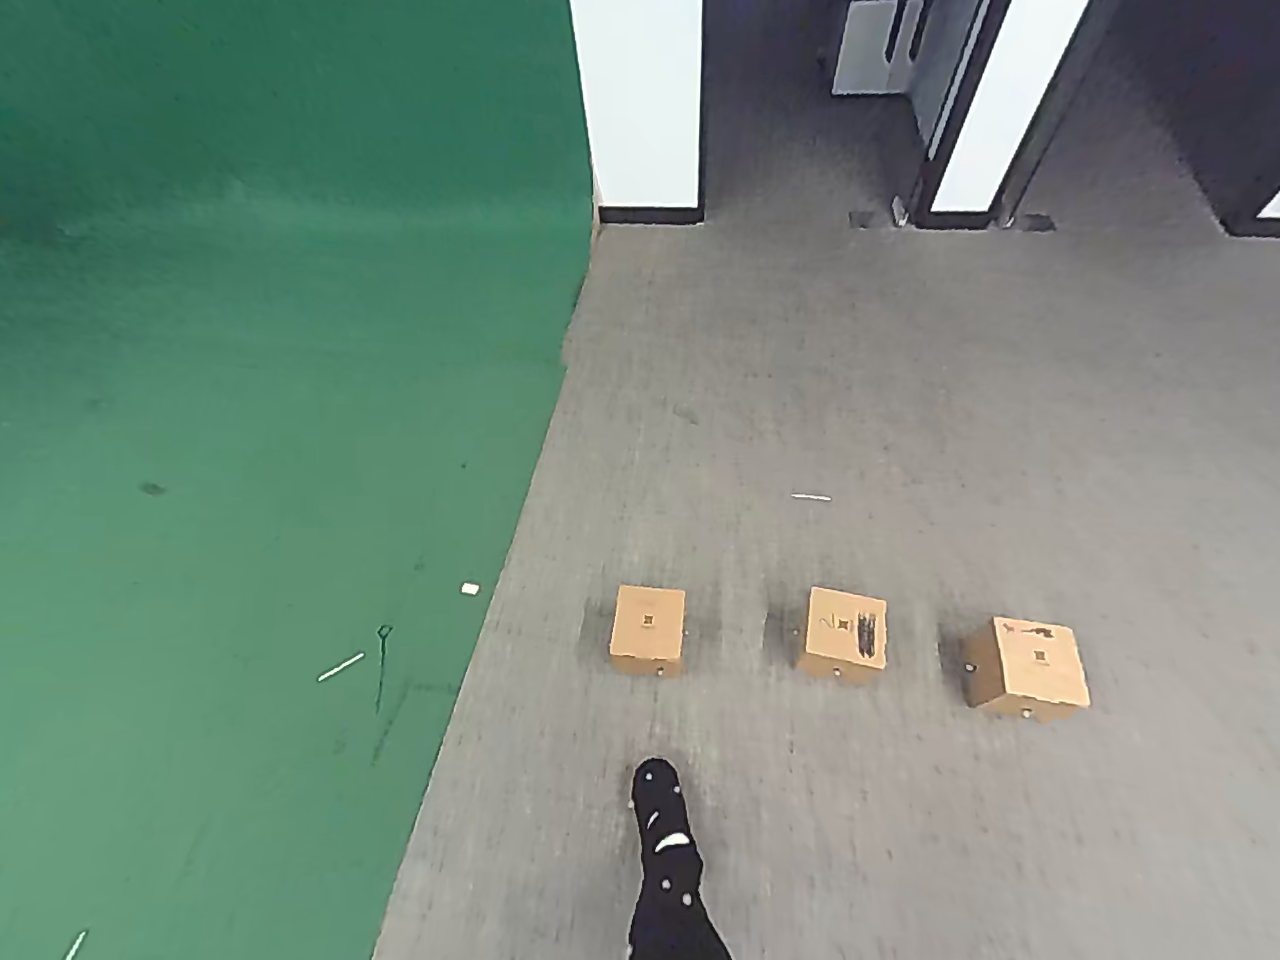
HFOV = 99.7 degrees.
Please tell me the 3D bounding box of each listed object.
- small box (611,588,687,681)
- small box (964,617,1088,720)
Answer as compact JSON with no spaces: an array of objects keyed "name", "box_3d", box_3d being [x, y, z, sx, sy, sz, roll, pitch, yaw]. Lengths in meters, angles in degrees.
[{"name":"small box","box_3d":[0.029,0.392,1.356,0.168,0.176,0.179,4,56,7]},{"name":"small box","box_3d":[0.878,0.440,1.247,0.168,0.176,0.179,7,57,9]}]
